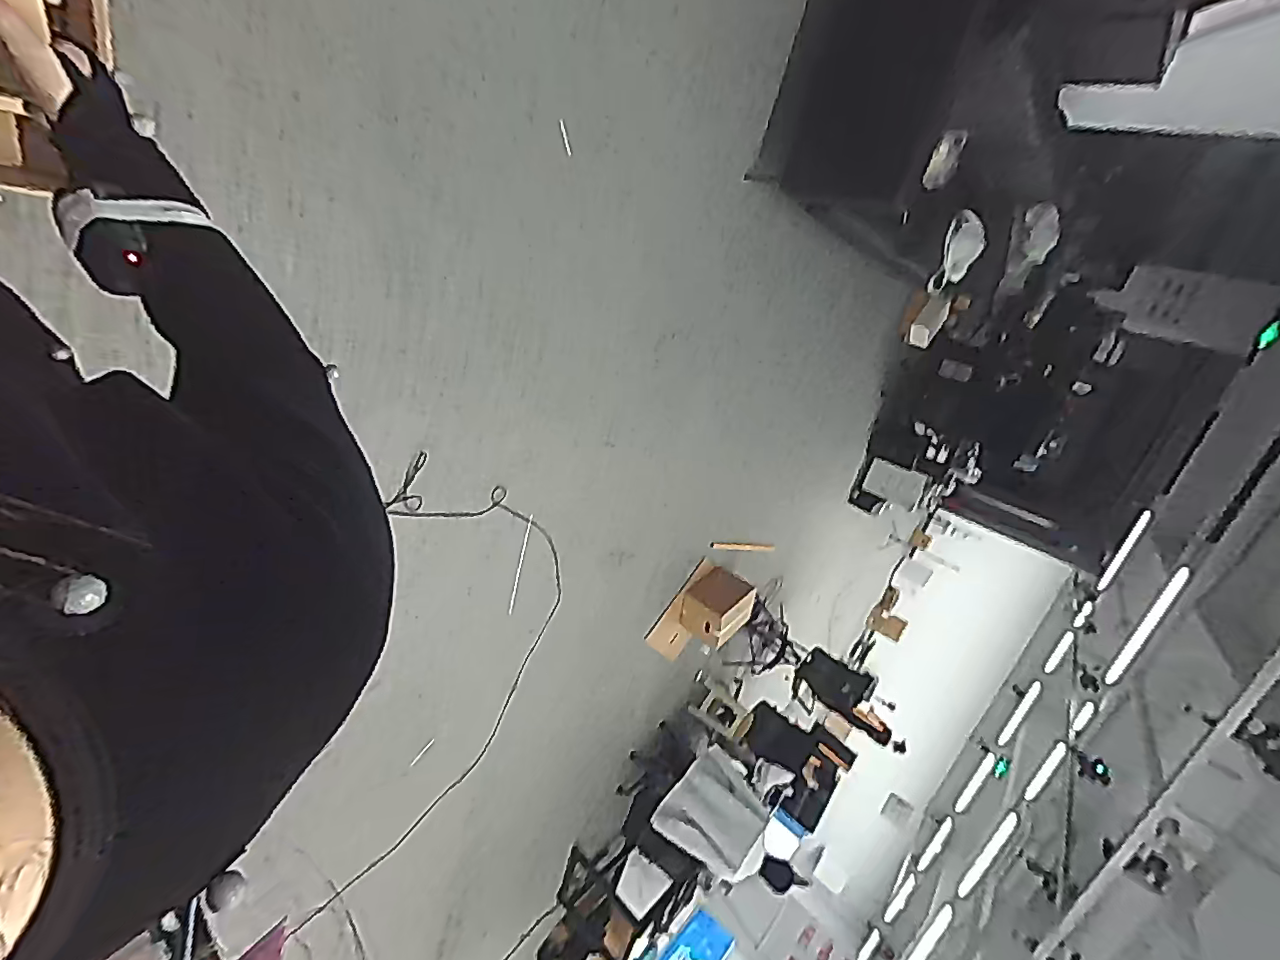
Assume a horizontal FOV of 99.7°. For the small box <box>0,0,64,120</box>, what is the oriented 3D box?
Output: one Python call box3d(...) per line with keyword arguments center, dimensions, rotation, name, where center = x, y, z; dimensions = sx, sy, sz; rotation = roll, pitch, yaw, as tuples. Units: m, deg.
box3d(center=(-0.539, -0.372, 0.371), dimensions=(0.168, 0.176, 0.179), rotation=(-16, 125, -47), name="small box")
